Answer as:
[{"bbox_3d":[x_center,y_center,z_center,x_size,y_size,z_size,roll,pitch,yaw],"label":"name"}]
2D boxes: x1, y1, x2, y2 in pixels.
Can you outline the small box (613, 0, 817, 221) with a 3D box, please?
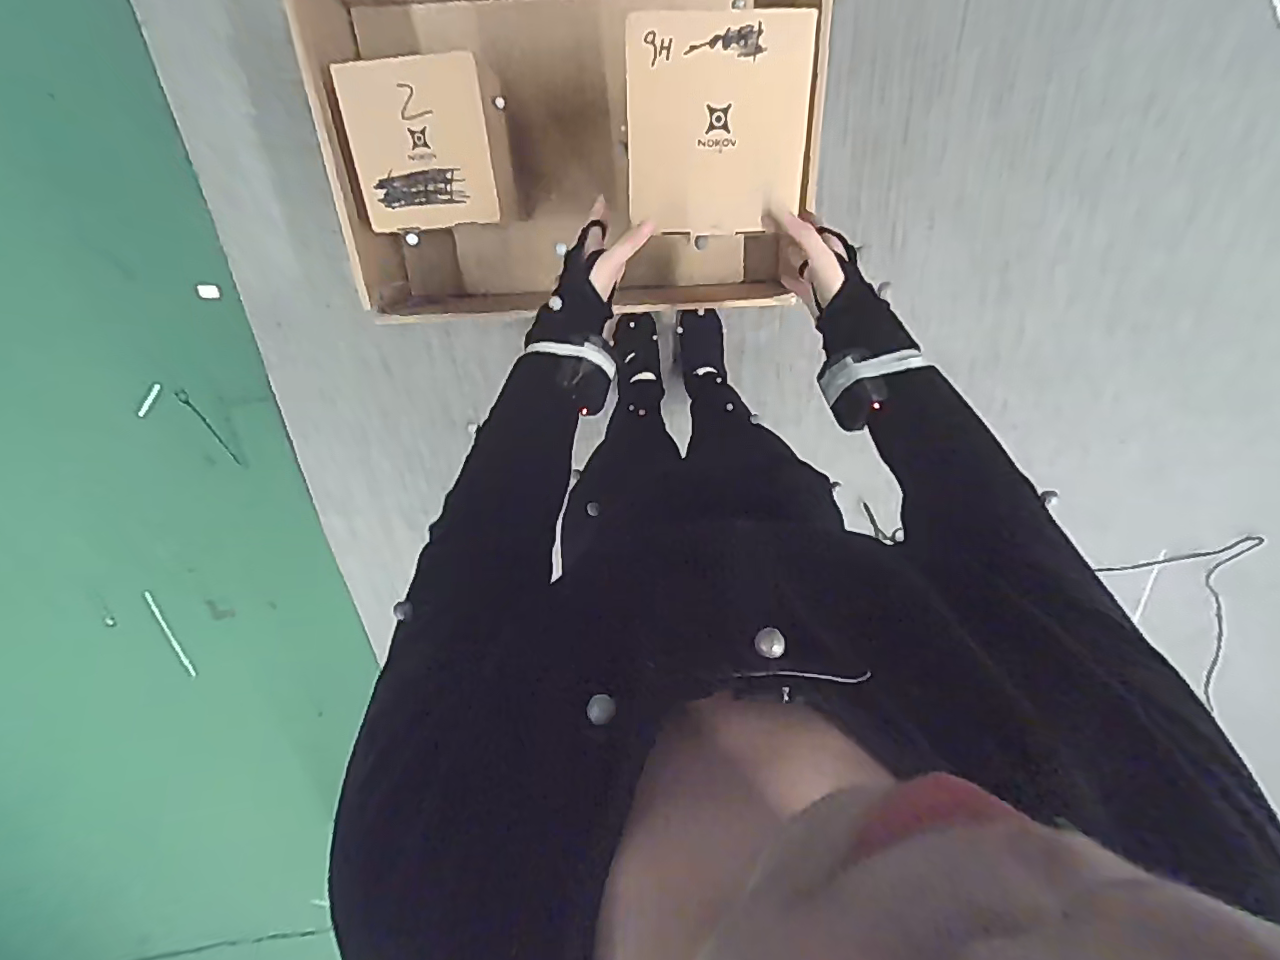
[{"bbox_3d":[0.060,-0.360,0.536,0.168,0.176,0.179,0,119,0],"label":"small box"}]
